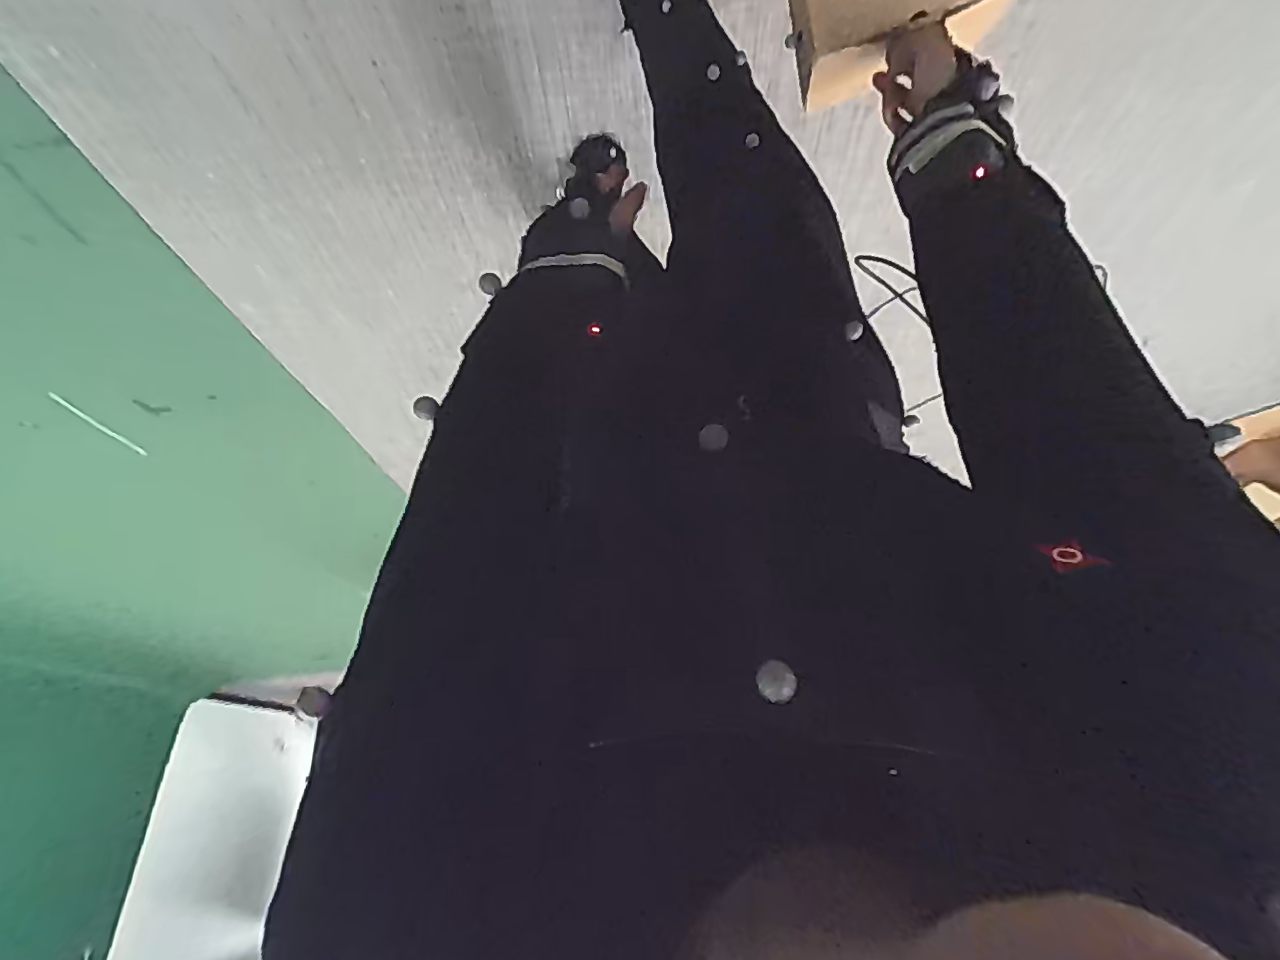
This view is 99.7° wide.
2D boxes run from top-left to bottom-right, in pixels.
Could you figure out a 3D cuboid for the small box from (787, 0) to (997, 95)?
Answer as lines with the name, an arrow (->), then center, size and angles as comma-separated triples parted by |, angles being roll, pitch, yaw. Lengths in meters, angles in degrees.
small box -> 0.218, -0.475, 0.476 | 0.168, 0.176, 0.179 | -10, 106, 17
